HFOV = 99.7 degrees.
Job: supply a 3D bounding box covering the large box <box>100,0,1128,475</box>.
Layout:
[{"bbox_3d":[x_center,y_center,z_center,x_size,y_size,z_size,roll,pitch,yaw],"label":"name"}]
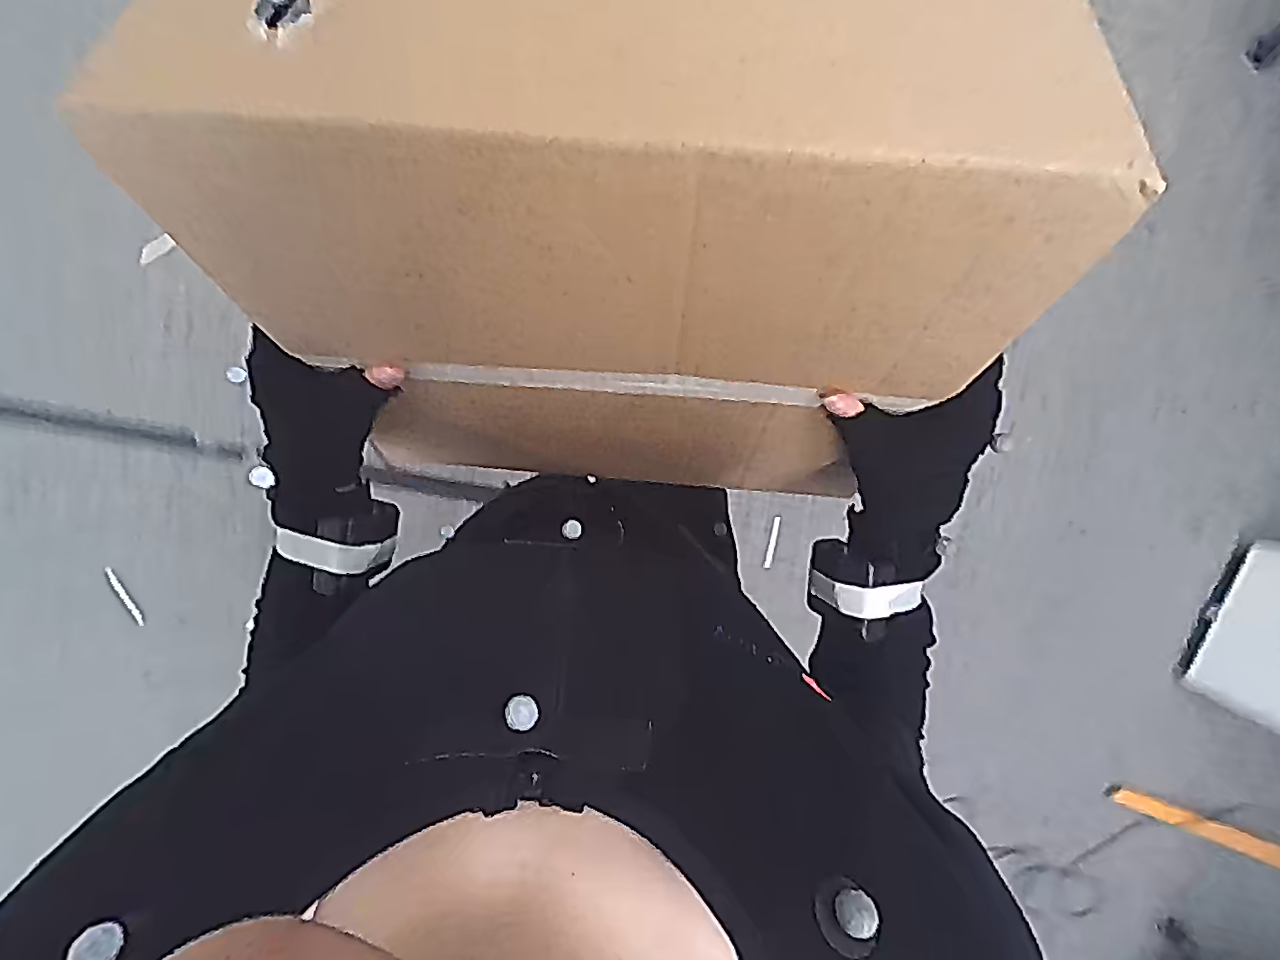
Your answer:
[{"bbox_3d":[-0.010,-0.211,0.398,0.408,0.320,0.320,3,68,1],"label":"large box"}]
